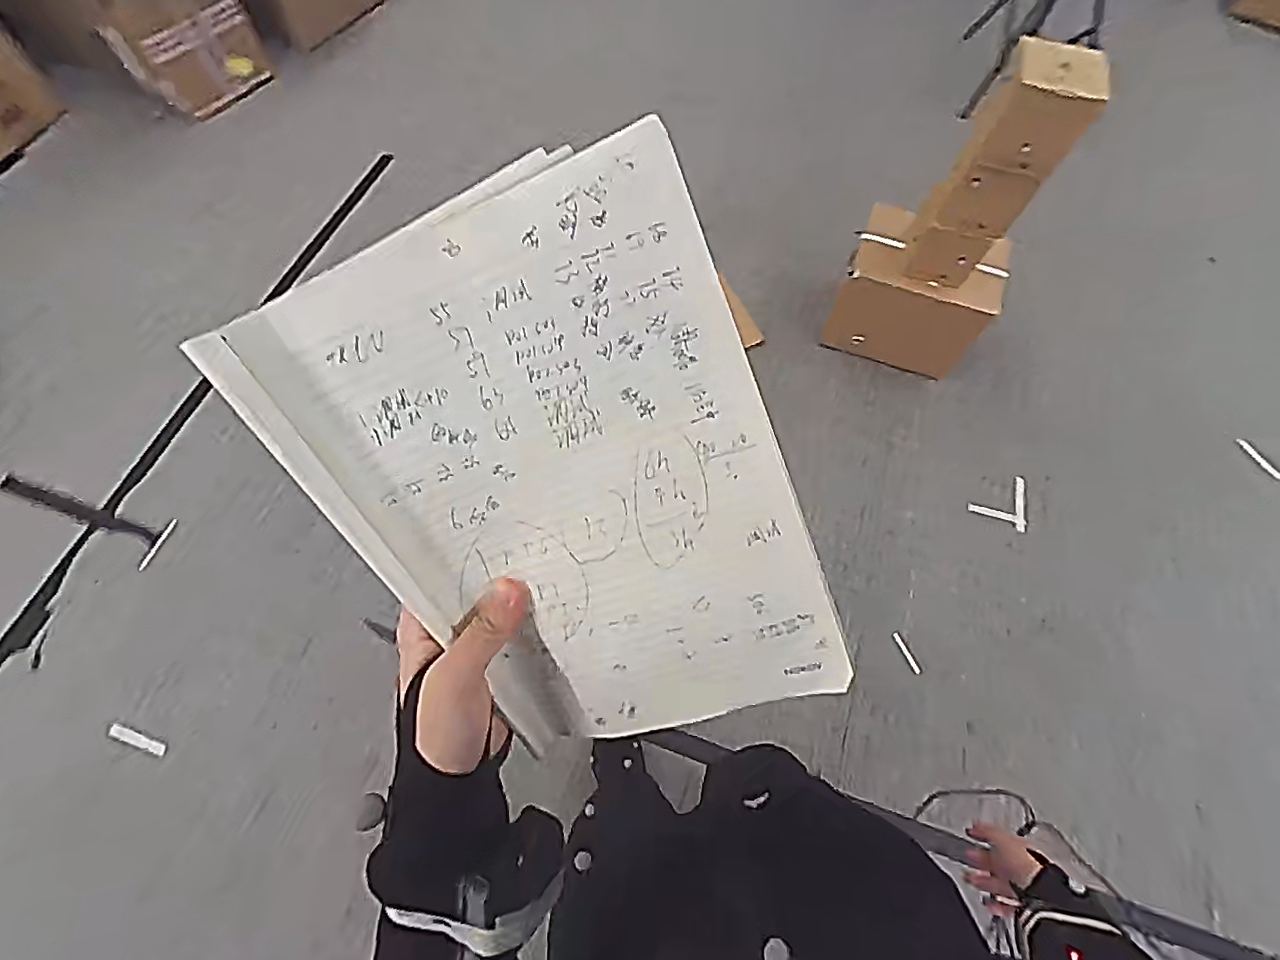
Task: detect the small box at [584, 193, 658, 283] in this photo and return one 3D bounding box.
[{"bbox_3d":[-0.056,-0.708,1.597,0.179,0.176,0.168,-15,67,-11],"label":"small box"}]

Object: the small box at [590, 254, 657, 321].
[{"bbox_3d":[-0.059,-0.641,1.746,0.179,0.176,0.168,-17,67,-12],"label":"small box"}]

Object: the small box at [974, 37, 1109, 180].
[{"bbox_3d":[0.839,-0.782,1.145,0.168,0.176,0.179,17,67,6],"label":"small box"}]

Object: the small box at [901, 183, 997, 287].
[{"bbox_3d":[0.820,-0.650,1.446,0.168,0.176,0.179,15,66,4],"label":"small box"}]
